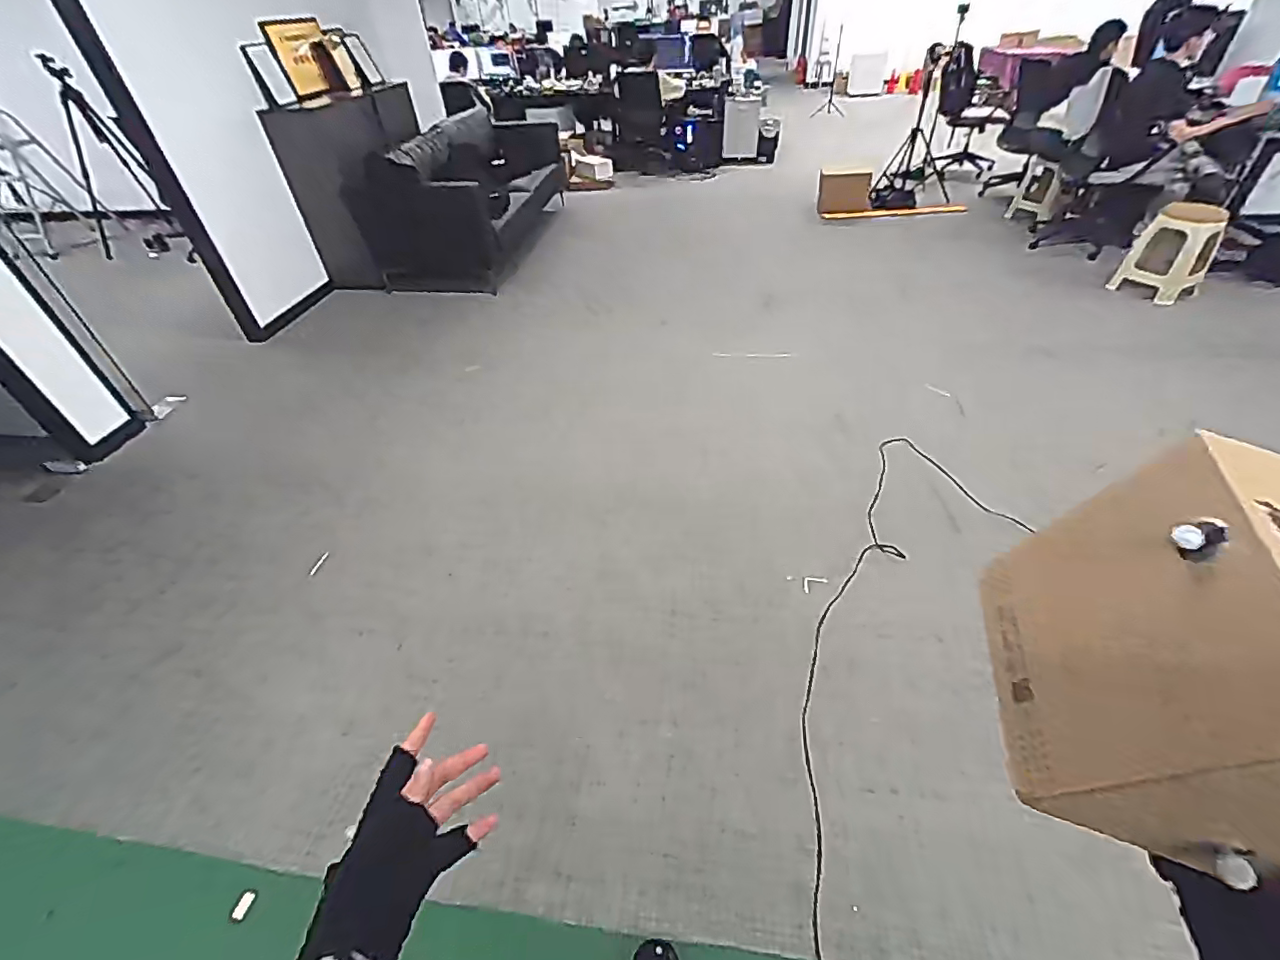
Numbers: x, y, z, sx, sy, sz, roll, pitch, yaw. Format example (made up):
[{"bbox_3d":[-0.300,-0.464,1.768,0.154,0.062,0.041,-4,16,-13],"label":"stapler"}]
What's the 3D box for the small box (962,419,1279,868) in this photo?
[{"bbox_3d":[0.327,0.102,0.307,0.179,0.176,0.168,20,50,-3],"label":"small box"}]
